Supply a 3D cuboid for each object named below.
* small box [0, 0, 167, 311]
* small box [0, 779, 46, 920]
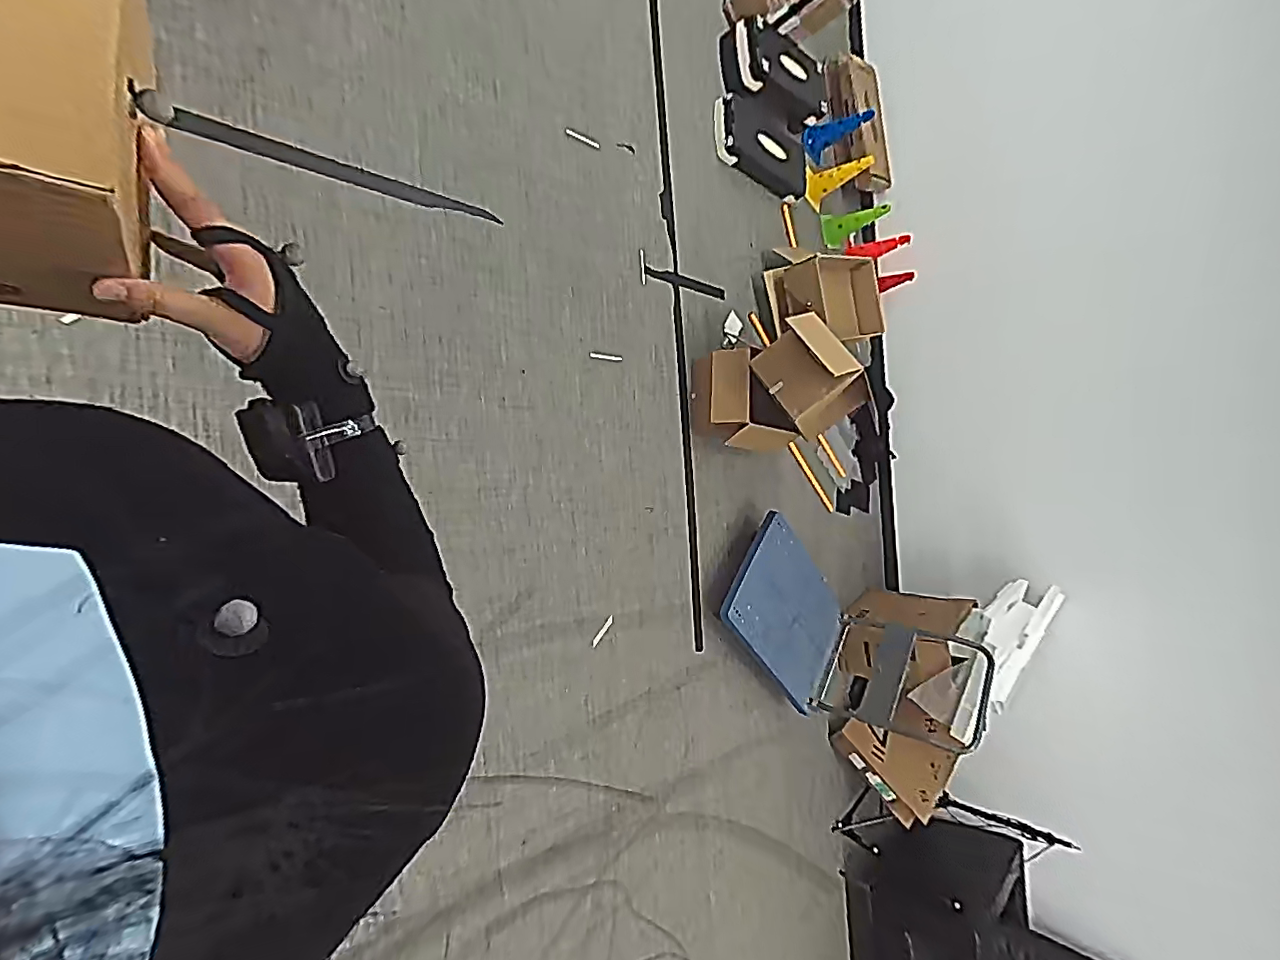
[{"bbox_3d":[-0.355,-0.211,0.273,0.168,0.176,0.179,1,83,-39],"label":"small box"},{"bbox_3d":[-1.129,0.631,0.905,0.168,0.176,0.179,1,87,-43],"label":"small box"}]
